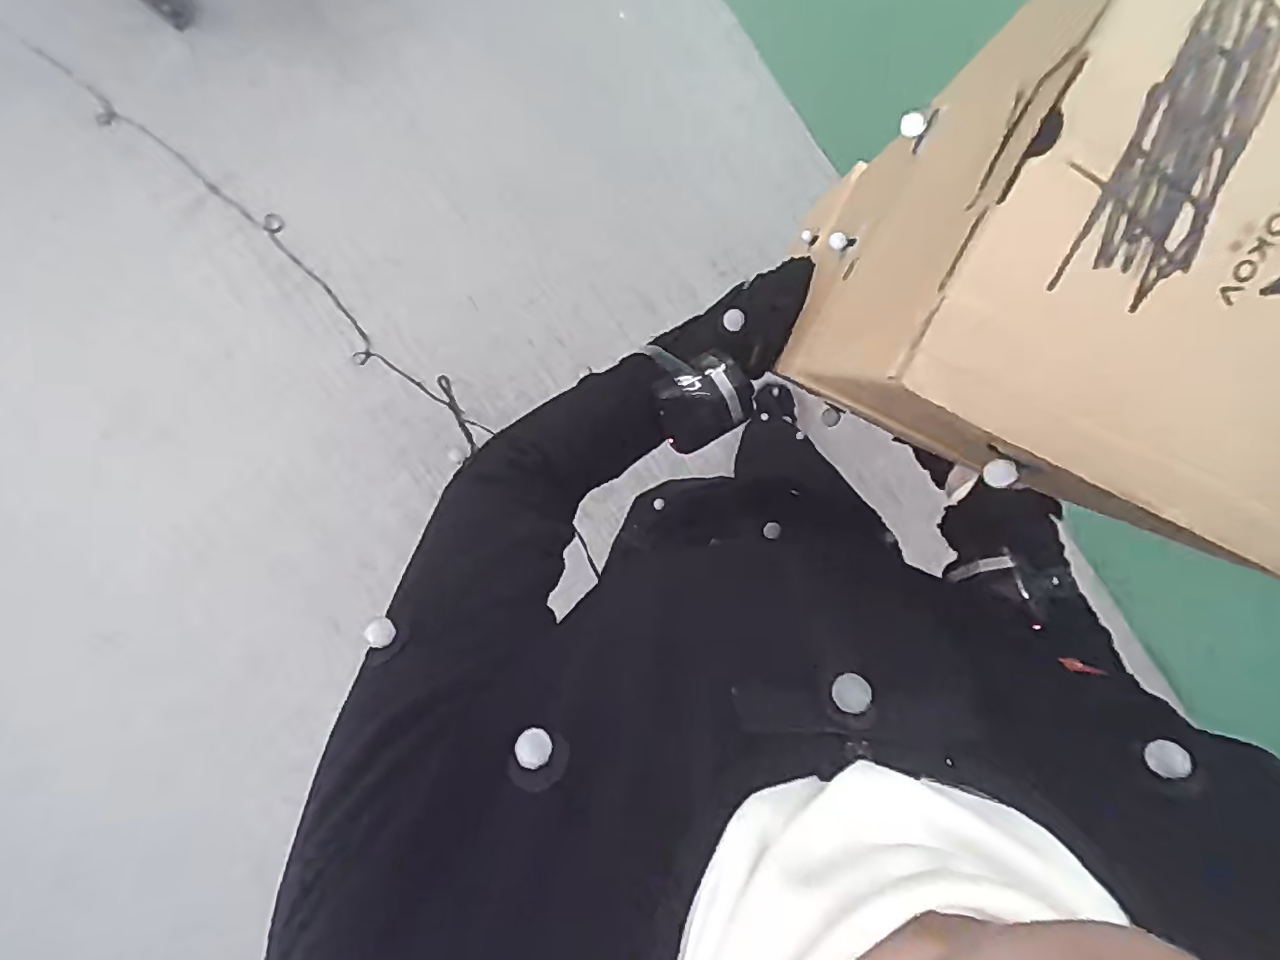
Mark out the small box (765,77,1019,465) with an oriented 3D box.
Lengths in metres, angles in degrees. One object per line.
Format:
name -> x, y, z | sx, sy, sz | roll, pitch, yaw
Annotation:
small box -> 0.207, -0.136, 0.399 | 0.168, 0.176, 0.179 | 25, 105, -1

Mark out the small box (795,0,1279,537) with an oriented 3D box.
small box -> 0.196, -0.101, 0.256 | 0.179, 0.176, 0.168 | 24, 105, -1
